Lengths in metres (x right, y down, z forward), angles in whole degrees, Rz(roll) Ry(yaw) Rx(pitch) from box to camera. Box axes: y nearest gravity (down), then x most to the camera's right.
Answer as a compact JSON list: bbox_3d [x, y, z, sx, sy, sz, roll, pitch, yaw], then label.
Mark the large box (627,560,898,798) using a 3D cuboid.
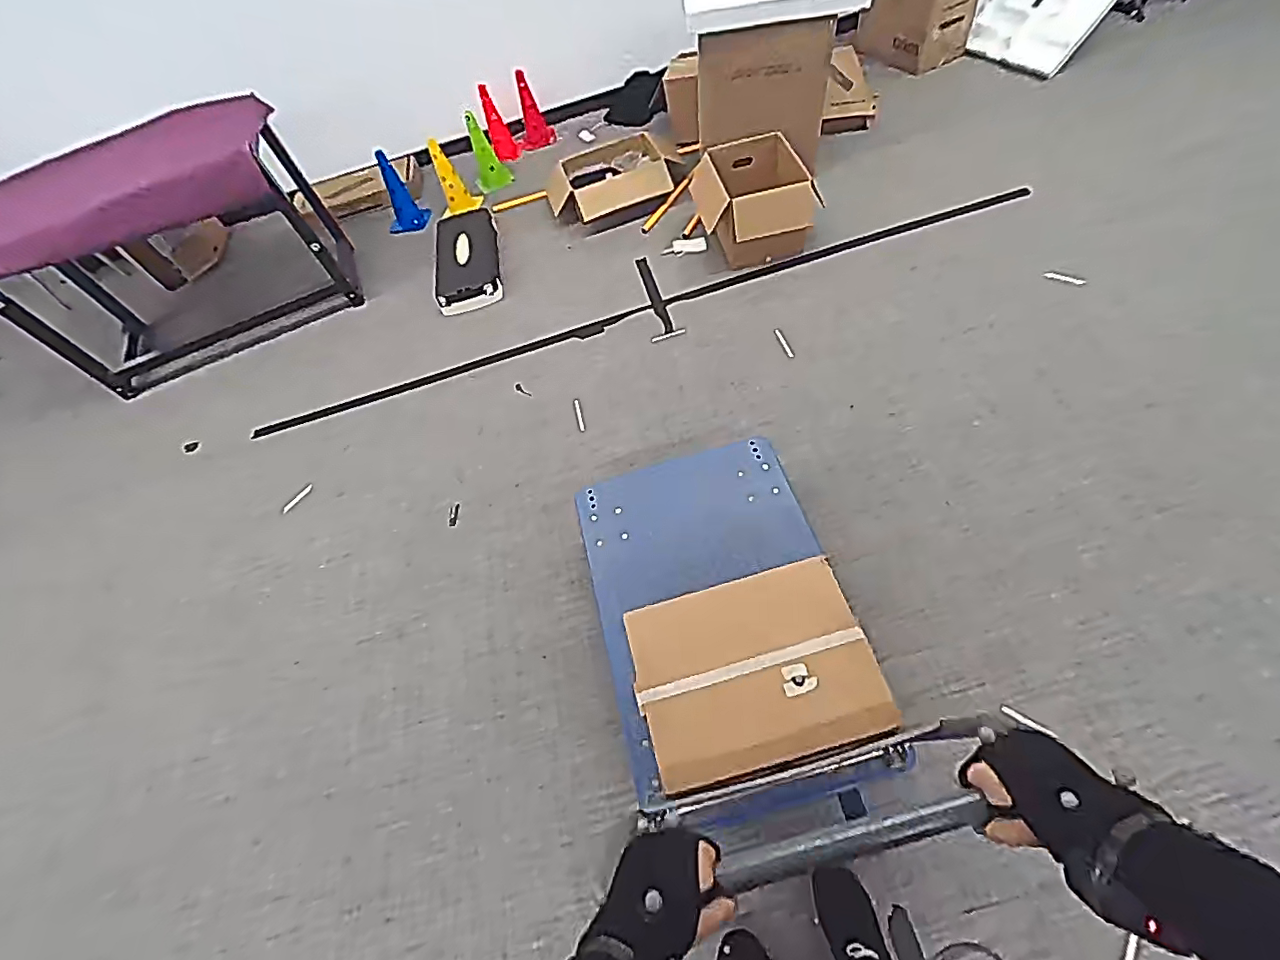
[{"bbox_3d":[0.220,0.412,1.090,0.408,0.320,0.320,-16,59,-1],"label":"large box"}]
